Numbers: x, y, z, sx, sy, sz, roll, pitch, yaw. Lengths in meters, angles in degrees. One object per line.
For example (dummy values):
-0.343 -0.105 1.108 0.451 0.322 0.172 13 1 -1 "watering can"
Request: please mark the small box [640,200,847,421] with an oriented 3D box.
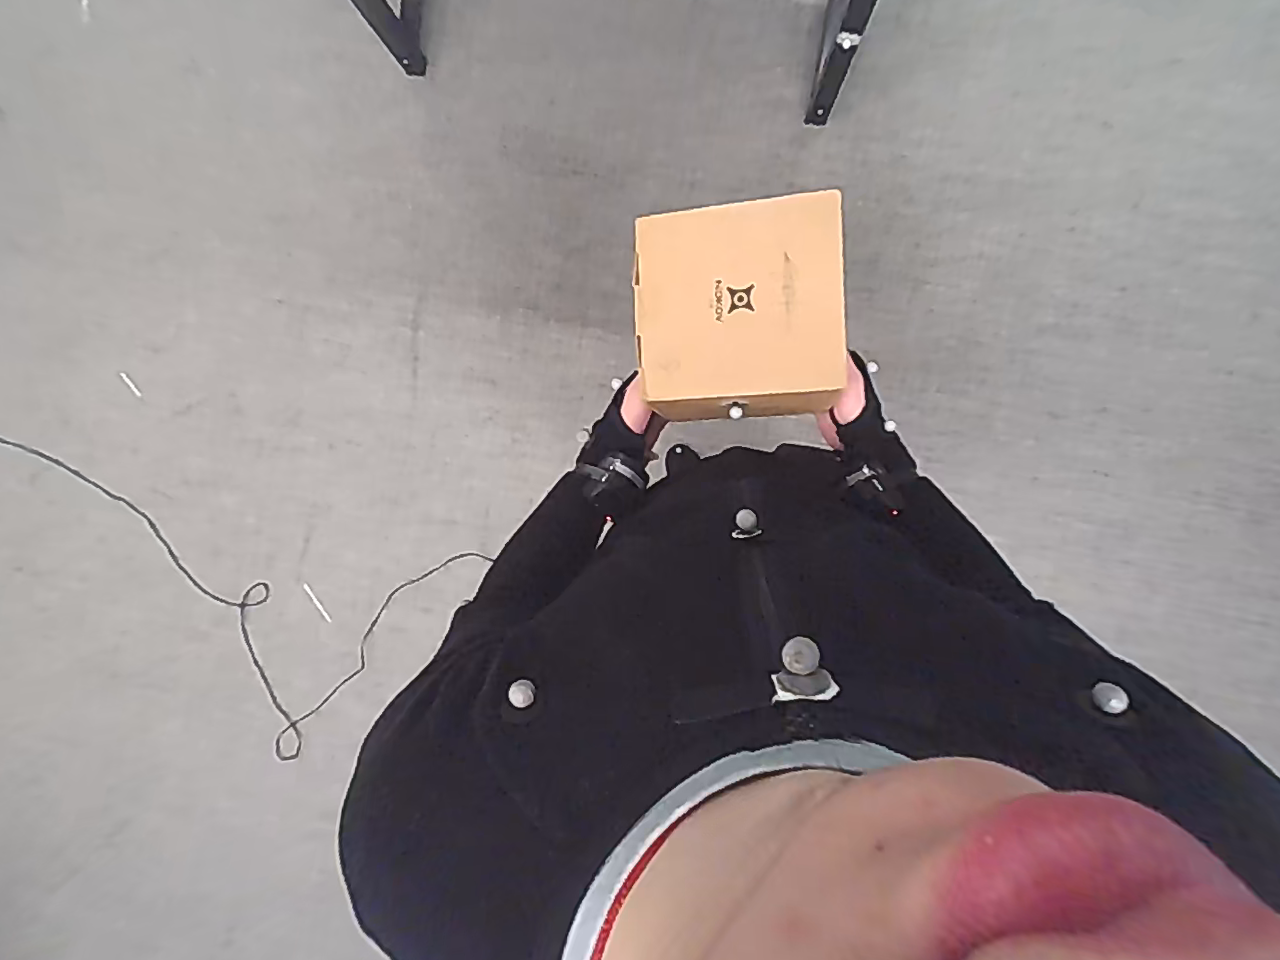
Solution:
0.104 -0.154 0.552 0.179 0.176 0.168 -3 90 11 "small box"
